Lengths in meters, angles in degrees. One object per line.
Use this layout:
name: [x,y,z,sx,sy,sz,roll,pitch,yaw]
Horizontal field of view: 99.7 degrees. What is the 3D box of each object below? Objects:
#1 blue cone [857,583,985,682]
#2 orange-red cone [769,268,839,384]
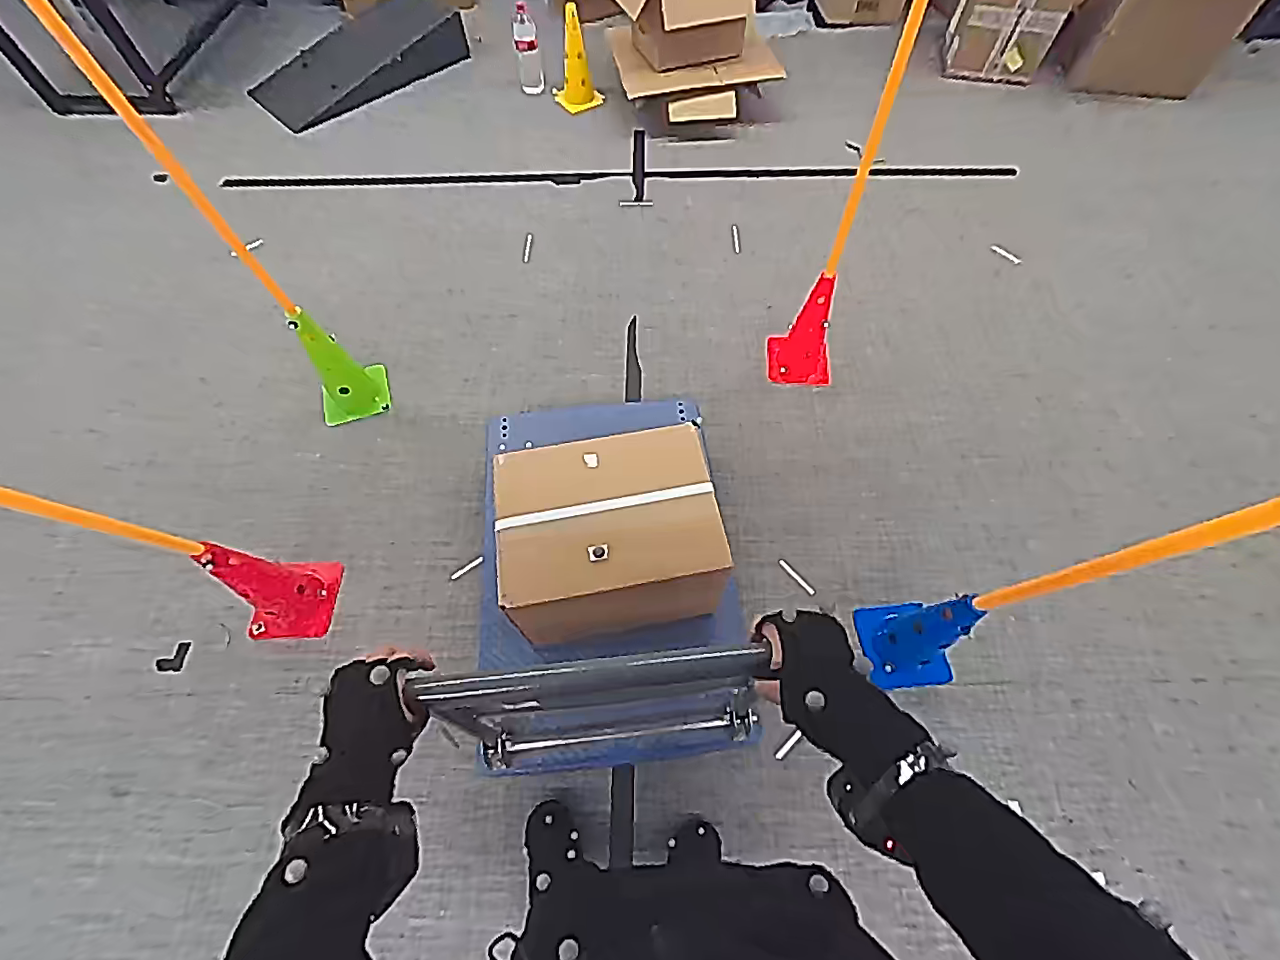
blue cone: [0.651,0.316,1.198,0.193,0.380,0.192,-3,60,-2]
orange-red cone: [0.526,-0.481,1.621,0.199,0.360,0.198,6,62,3]
